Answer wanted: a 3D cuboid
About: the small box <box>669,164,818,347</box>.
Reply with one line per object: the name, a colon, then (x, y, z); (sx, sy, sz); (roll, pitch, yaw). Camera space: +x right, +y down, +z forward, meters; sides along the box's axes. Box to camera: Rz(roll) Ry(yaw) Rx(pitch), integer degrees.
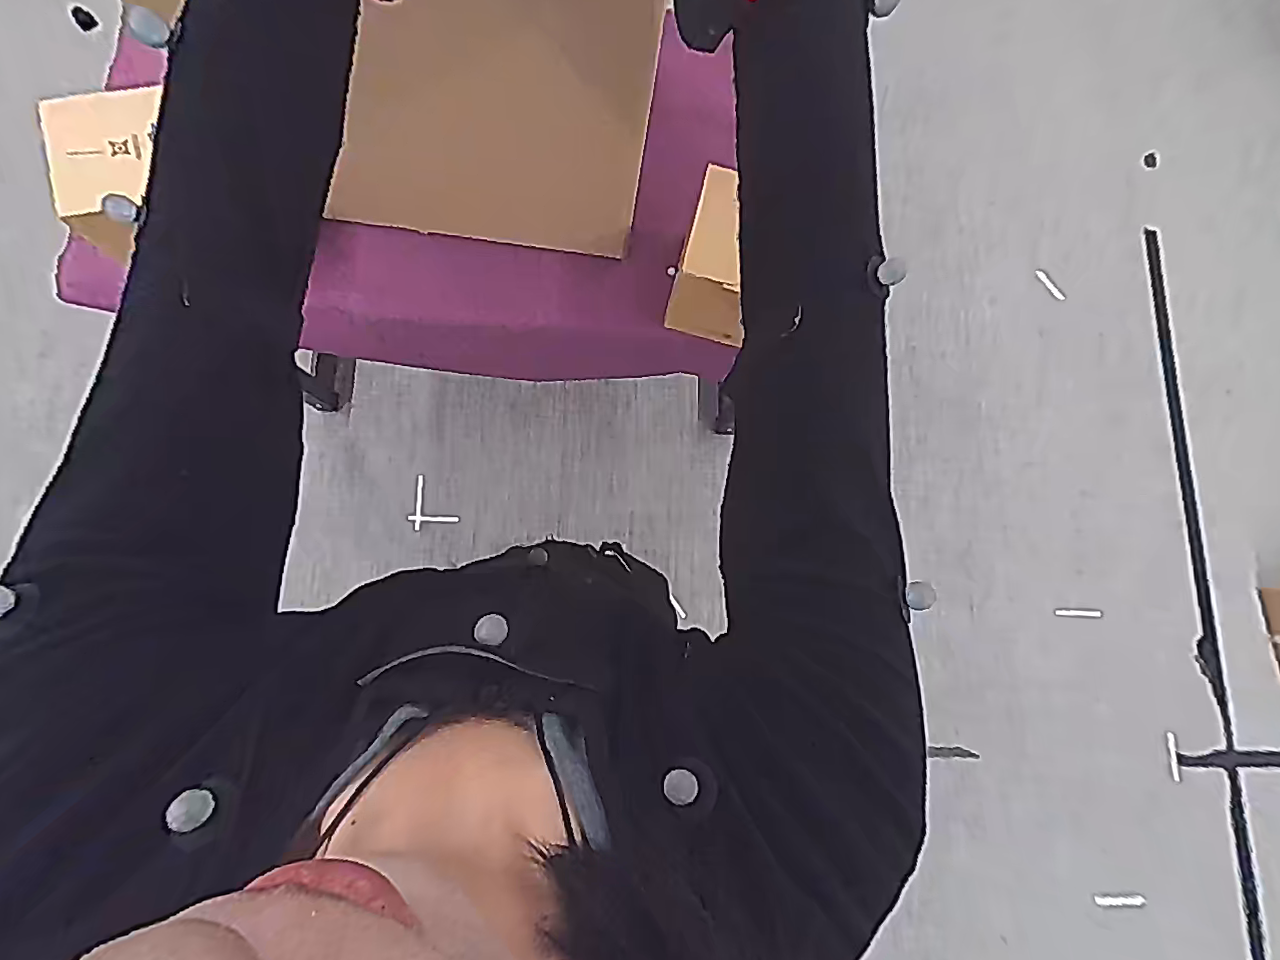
small box: (0.147, -0.328, 0.824); (0.168, 0.176, 0.179); (14, 78, -4)
